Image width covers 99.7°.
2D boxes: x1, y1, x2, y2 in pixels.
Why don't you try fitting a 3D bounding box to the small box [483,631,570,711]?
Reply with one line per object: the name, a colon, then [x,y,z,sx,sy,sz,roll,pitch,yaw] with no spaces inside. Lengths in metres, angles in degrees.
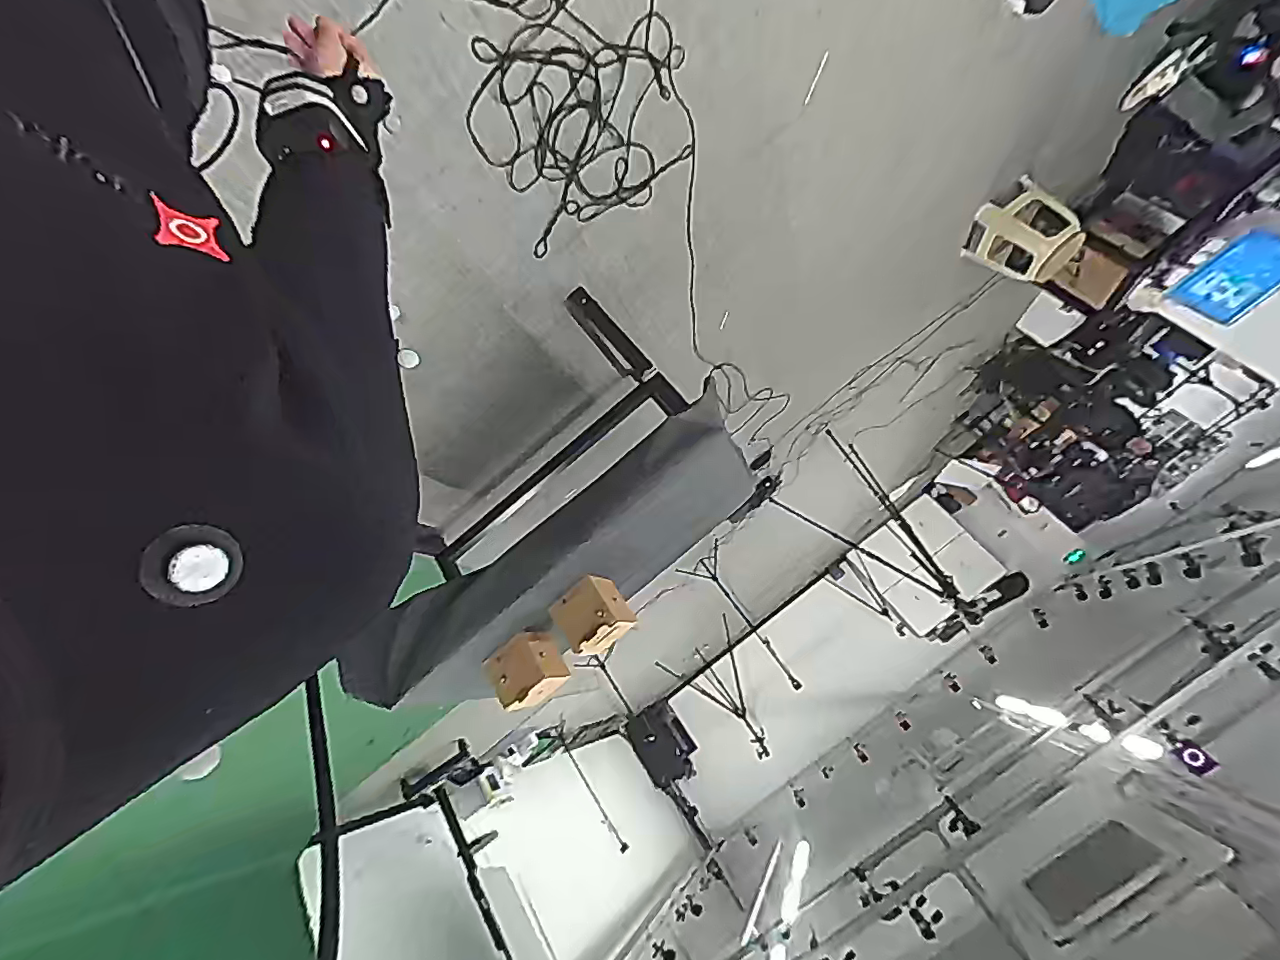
small box: [-0.354,0.586,1.679,0.168,0.176,0.179,-40,156,6]
